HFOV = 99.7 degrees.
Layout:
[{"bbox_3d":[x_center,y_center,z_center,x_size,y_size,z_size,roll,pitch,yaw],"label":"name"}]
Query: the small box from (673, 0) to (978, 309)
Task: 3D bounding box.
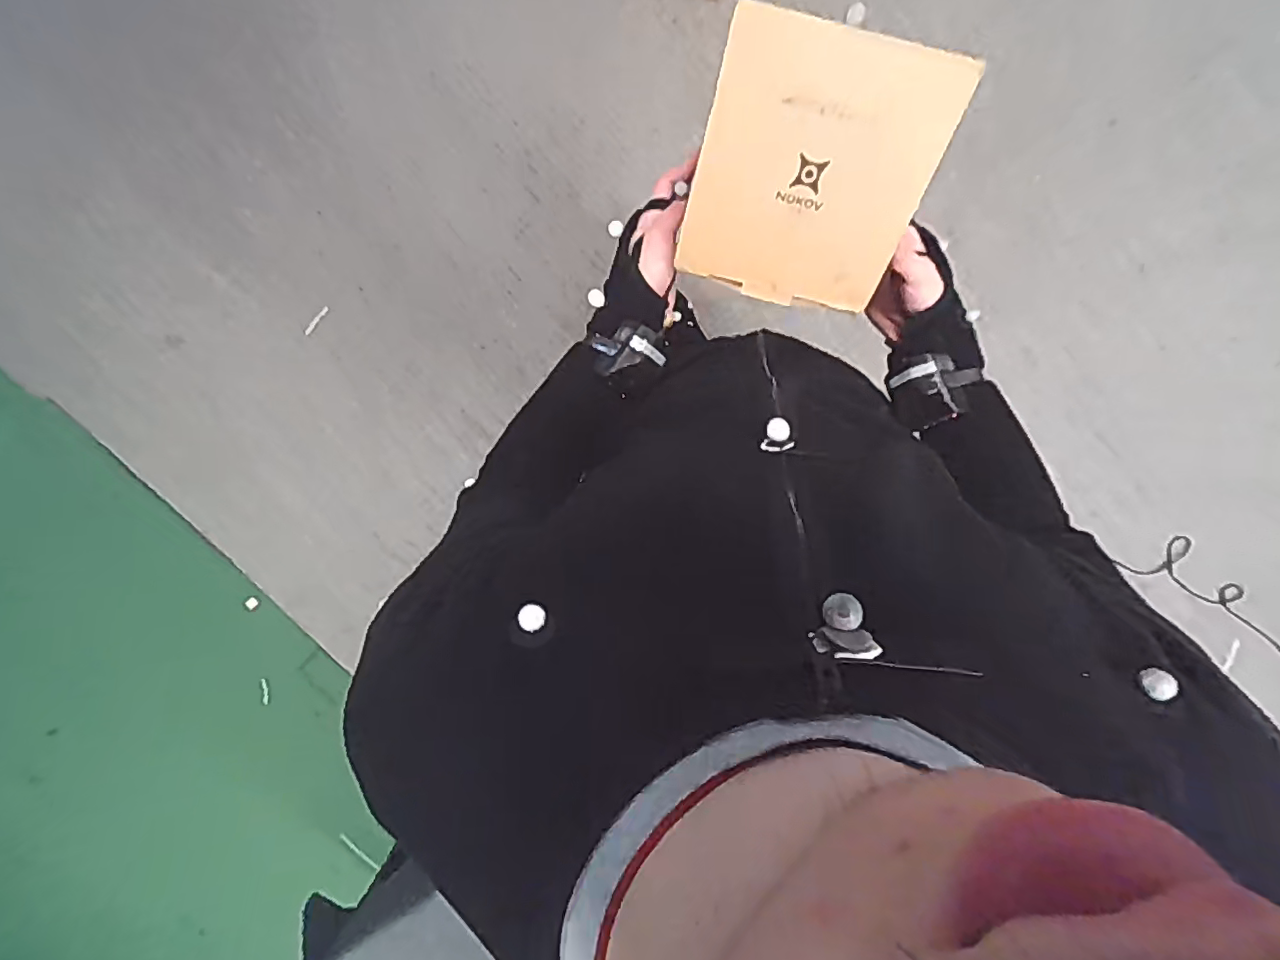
[{"bbox_3d":[0.132,-0.276,0.456,0.168,0.176,0.179,13,130,-2],"label":"small box"}]
